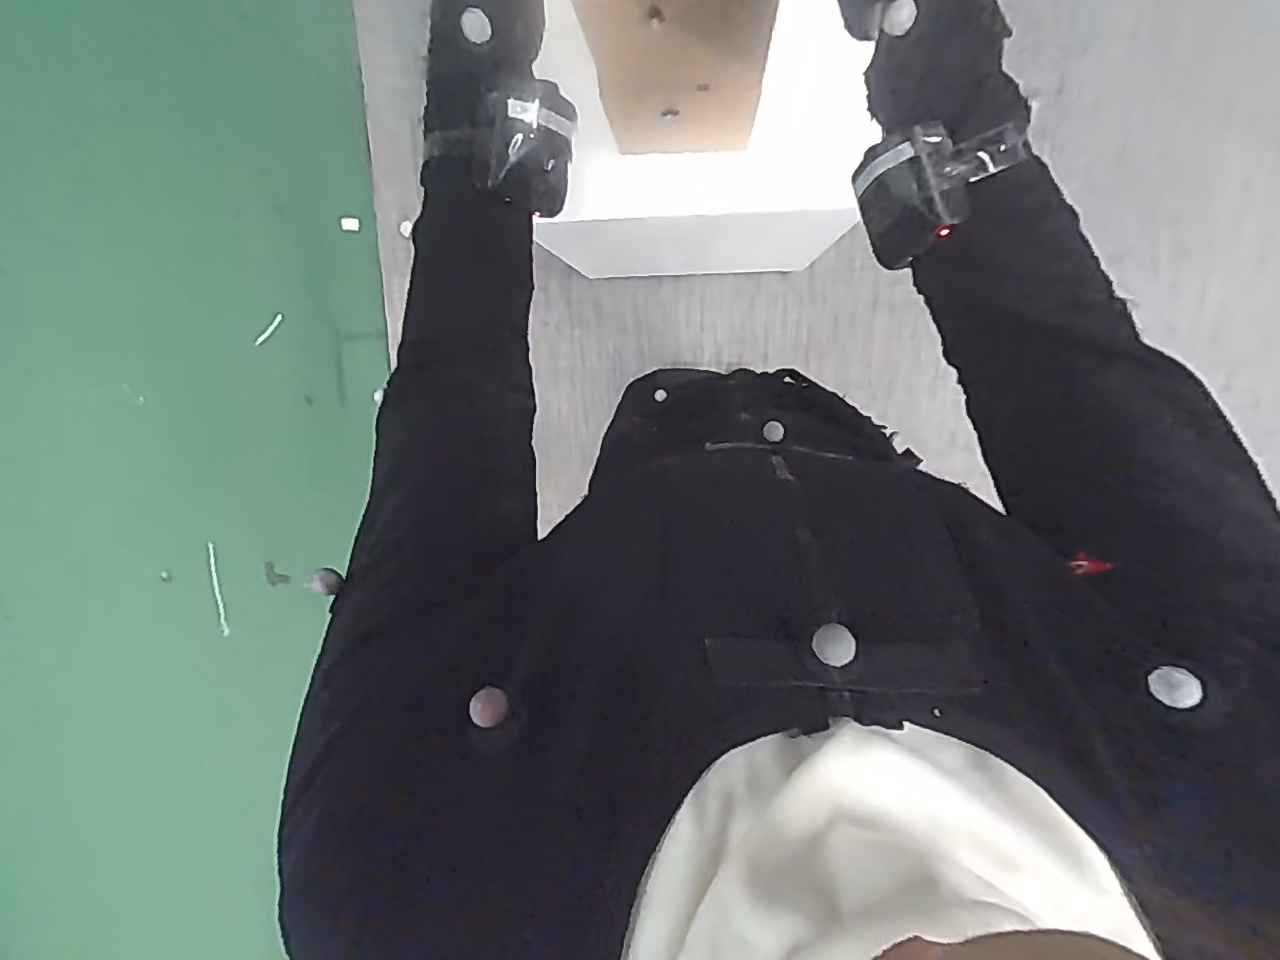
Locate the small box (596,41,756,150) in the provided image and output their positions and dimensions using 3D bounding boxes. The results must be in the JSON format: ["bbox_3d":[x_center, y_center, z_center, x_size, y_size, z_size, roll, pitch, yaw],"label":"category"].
[{"bbox_3d":[0.050,-0.511,0.641,0.179,0.176,0.168,2,103,6],"label":"small box"}]

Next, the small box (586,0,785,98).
[{"bbox_3d":[0.040,-0.480,0.484,0.168,0.176,0.179,1,103,5],"label":"small box"}]
